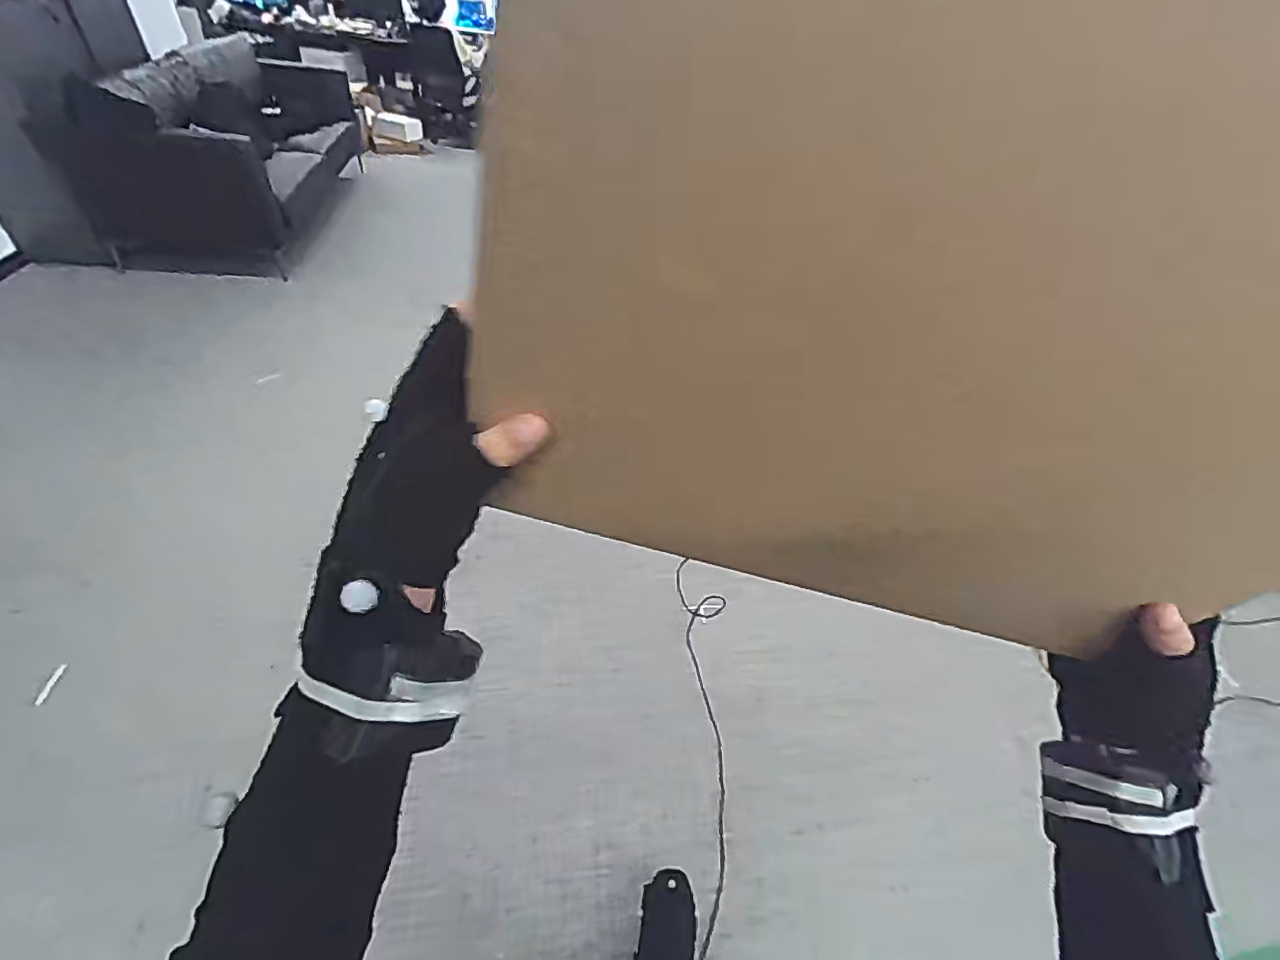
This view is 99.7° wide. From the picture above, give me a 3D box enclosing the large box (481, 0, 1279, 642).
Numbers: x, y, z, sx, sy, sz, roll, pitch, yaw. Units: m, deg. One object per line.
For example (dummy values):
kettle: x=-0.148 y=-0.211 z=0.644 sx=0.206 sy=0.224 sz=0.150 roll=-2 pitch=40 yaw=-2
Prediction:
large box: x=0.155 y=-0.142 z=0.307 sx=0.408 sy=0.320 sz=0.320 roll=15 pitch=50 yaw=-9
